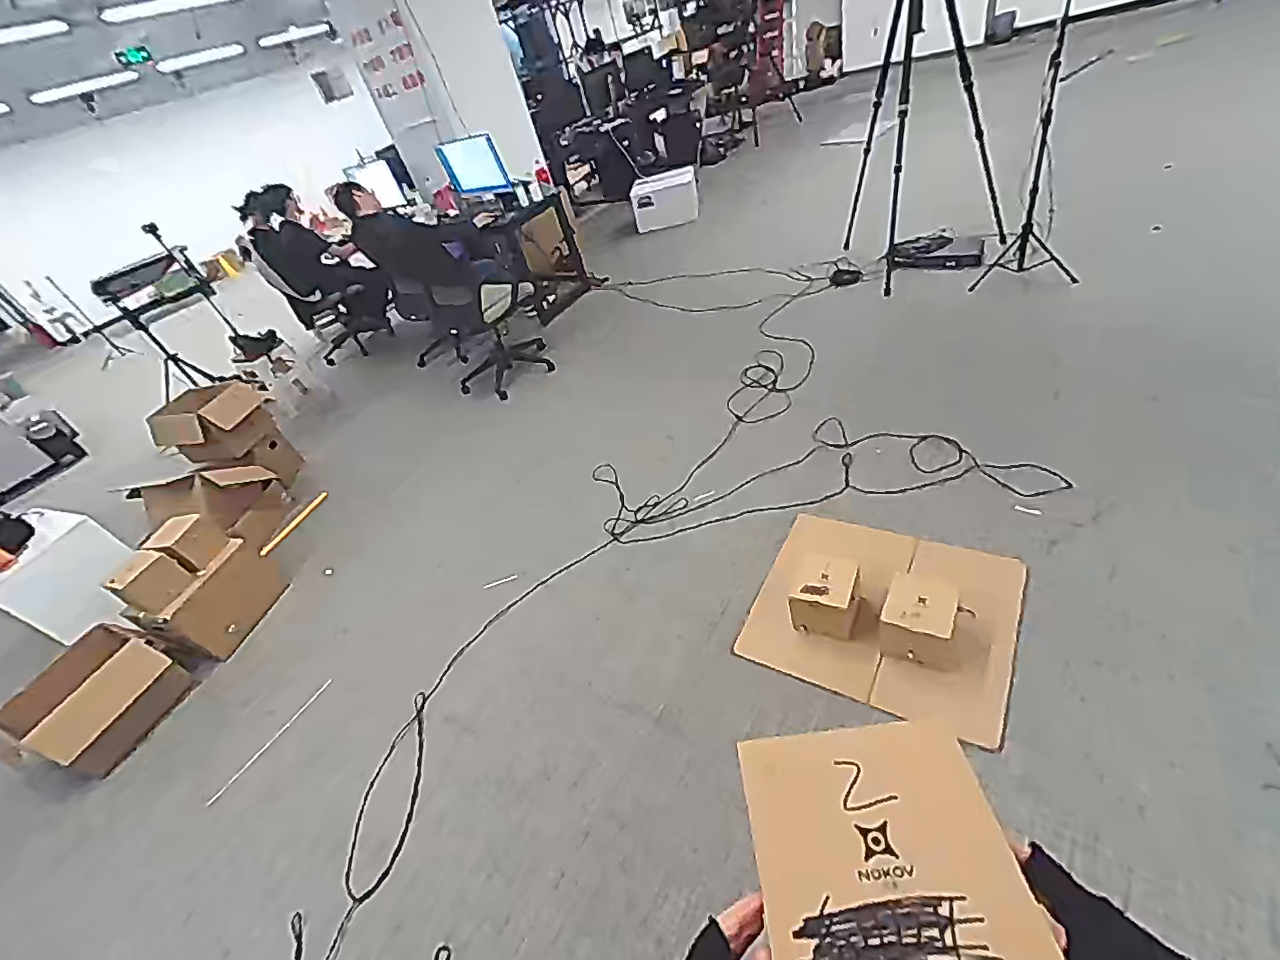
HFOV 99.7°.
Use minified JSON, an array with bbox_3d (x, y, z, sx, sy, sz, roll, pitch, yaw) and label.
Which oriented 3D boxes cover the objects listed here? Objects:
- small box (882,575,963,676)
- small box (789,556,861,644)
[{"bbox_3d":[0.765,0.395,1.471,0.168,0.176,0.179,11,48,35],"label":"small box"},{"bbox_3d":[0.554,0.357,1.603,0.168,0.176,0.179,7,46,31],"label":"small box"}]
